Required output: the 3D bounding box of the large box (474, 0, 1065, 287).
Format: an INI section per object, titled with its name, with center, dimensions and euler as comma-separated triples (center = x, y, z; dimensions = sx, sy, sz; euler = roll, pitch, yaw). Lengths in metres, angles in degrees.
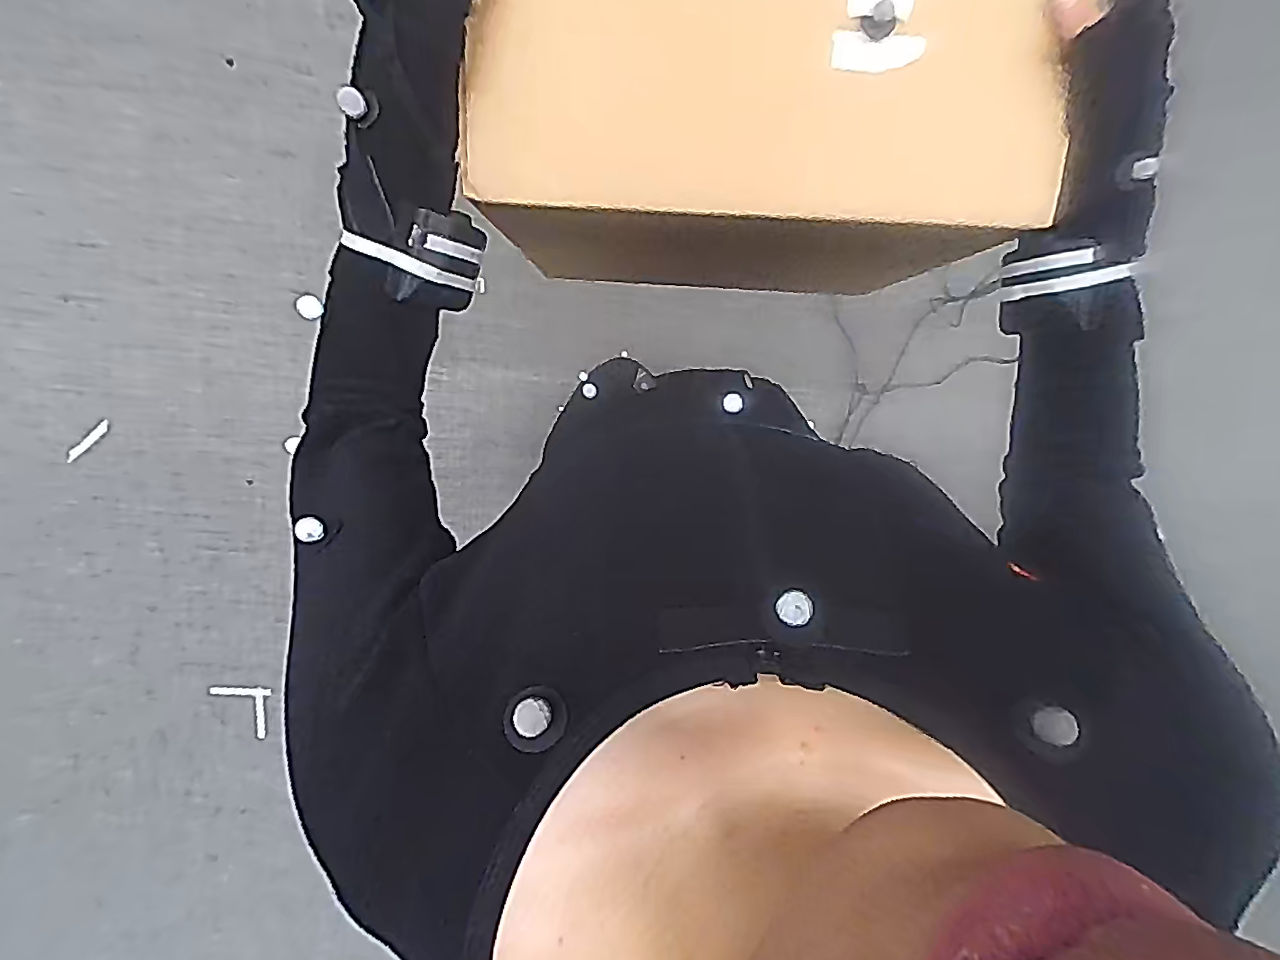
[large box]
center = 0.085, -0.371, 0.504
dimensions = 0.408, 0.320, 0.320
euler = 2, 101, -1
